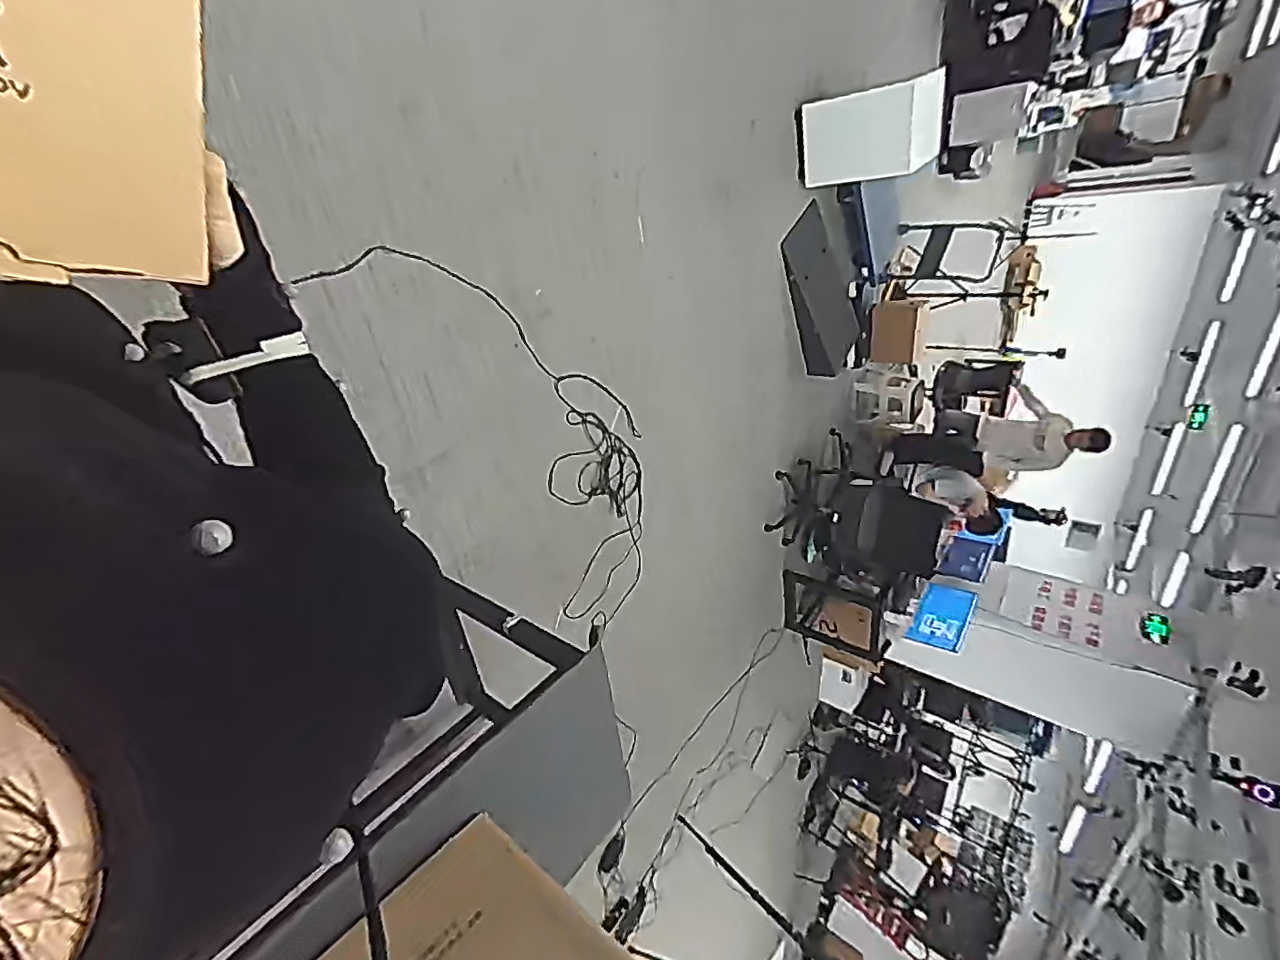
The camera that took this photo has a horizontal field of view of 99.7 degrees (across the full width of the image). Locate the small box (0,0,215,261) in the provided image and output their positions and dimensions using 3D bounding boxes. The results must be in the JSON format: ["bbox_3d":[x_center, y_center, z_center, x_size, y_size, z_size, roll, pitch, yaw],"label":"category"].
[{"bbox_3d":[-0.338,-0.222,0.251,0.168,0.176,0.179,-23,132,-60],"label":"small box"}]
